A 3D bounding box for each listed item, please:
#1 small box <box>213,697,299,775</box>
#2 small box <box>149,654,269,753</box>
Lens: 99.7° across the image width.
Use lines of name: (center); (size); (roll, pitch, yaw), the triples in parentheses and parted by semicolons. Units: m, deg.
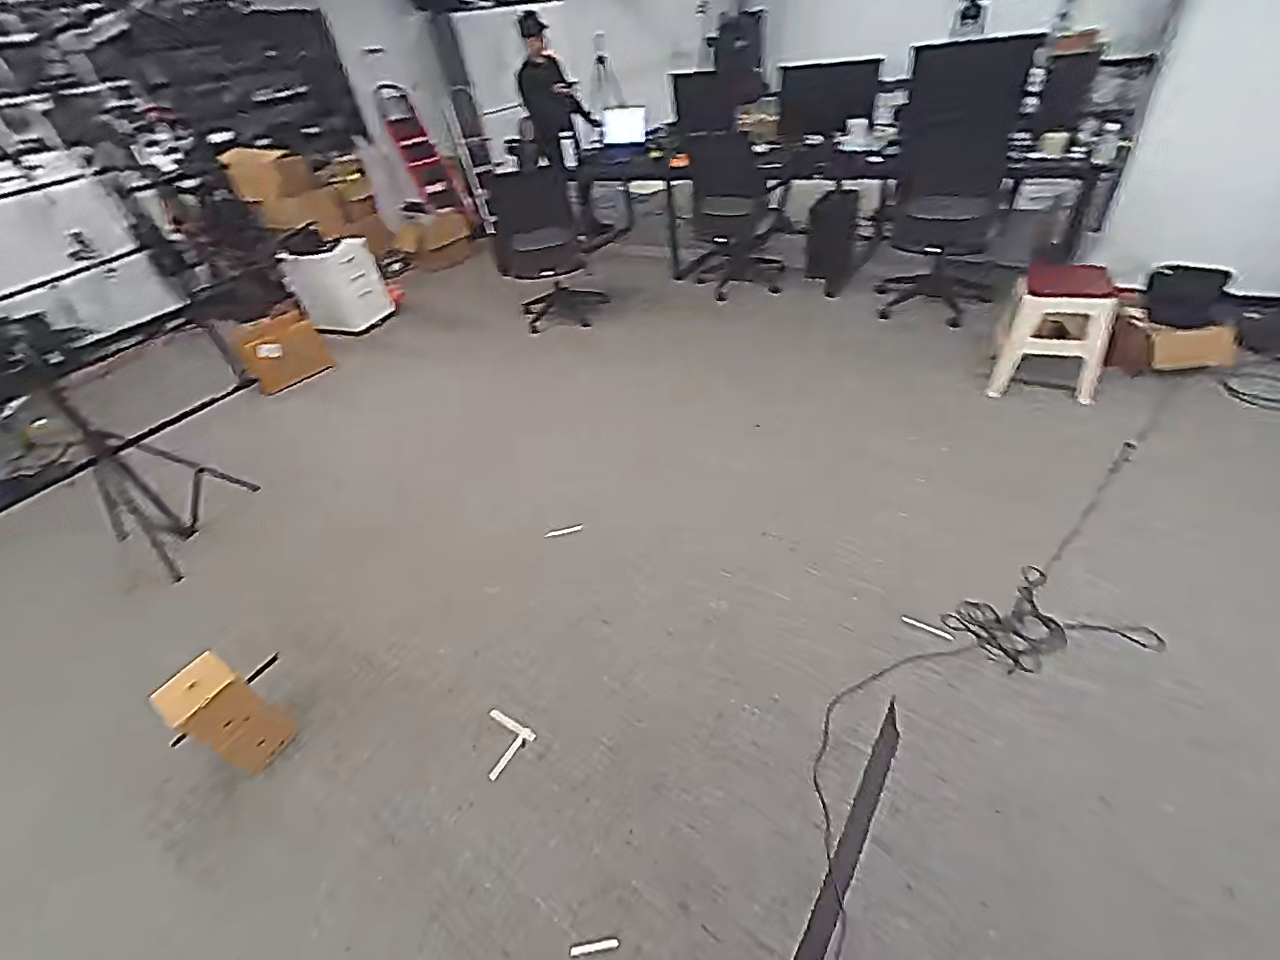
small box: (-1.175, 0.751, 1.619); (0.179, 0.176, 0.168); (14, 46, 28)
small box: (-1.200, 0.628, 1.515); (0.179, 0.176, 0.168); (16, 47, 28)
